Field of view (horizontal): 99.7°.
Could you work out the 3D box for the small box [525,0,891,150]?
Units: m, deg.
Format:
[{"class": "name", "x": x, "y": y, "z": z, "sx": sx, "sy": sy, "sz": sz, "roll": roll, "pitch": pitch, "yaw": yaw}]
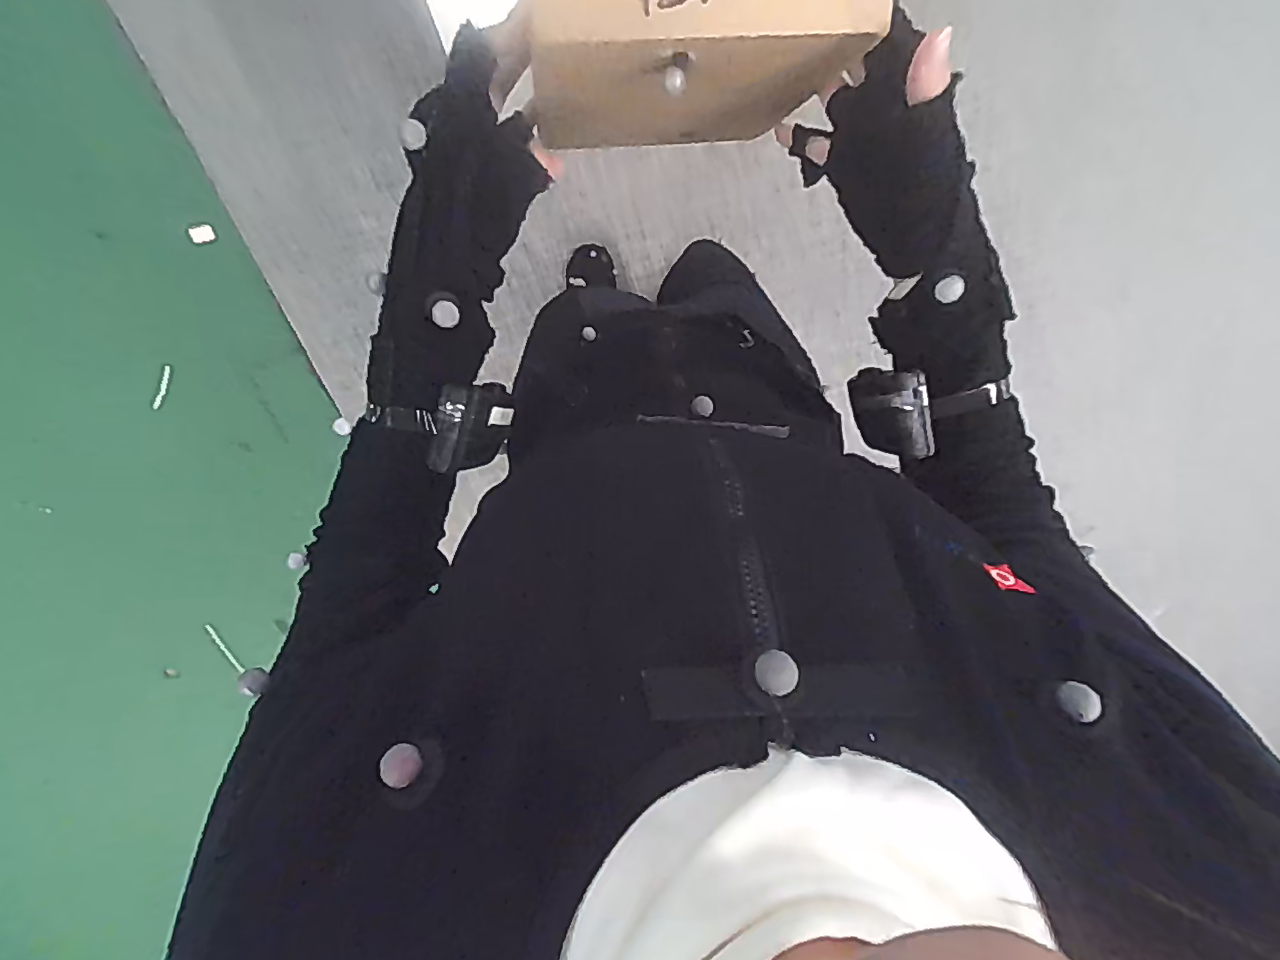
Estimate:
[{"class": "small box", "x": 0.016, "y": -0.305, "z": 0.293, "sx": 0.168, "sy": 0.176, "sz": 0.179, "roll": -8, "pitch": 108, "yaw": -6}]
